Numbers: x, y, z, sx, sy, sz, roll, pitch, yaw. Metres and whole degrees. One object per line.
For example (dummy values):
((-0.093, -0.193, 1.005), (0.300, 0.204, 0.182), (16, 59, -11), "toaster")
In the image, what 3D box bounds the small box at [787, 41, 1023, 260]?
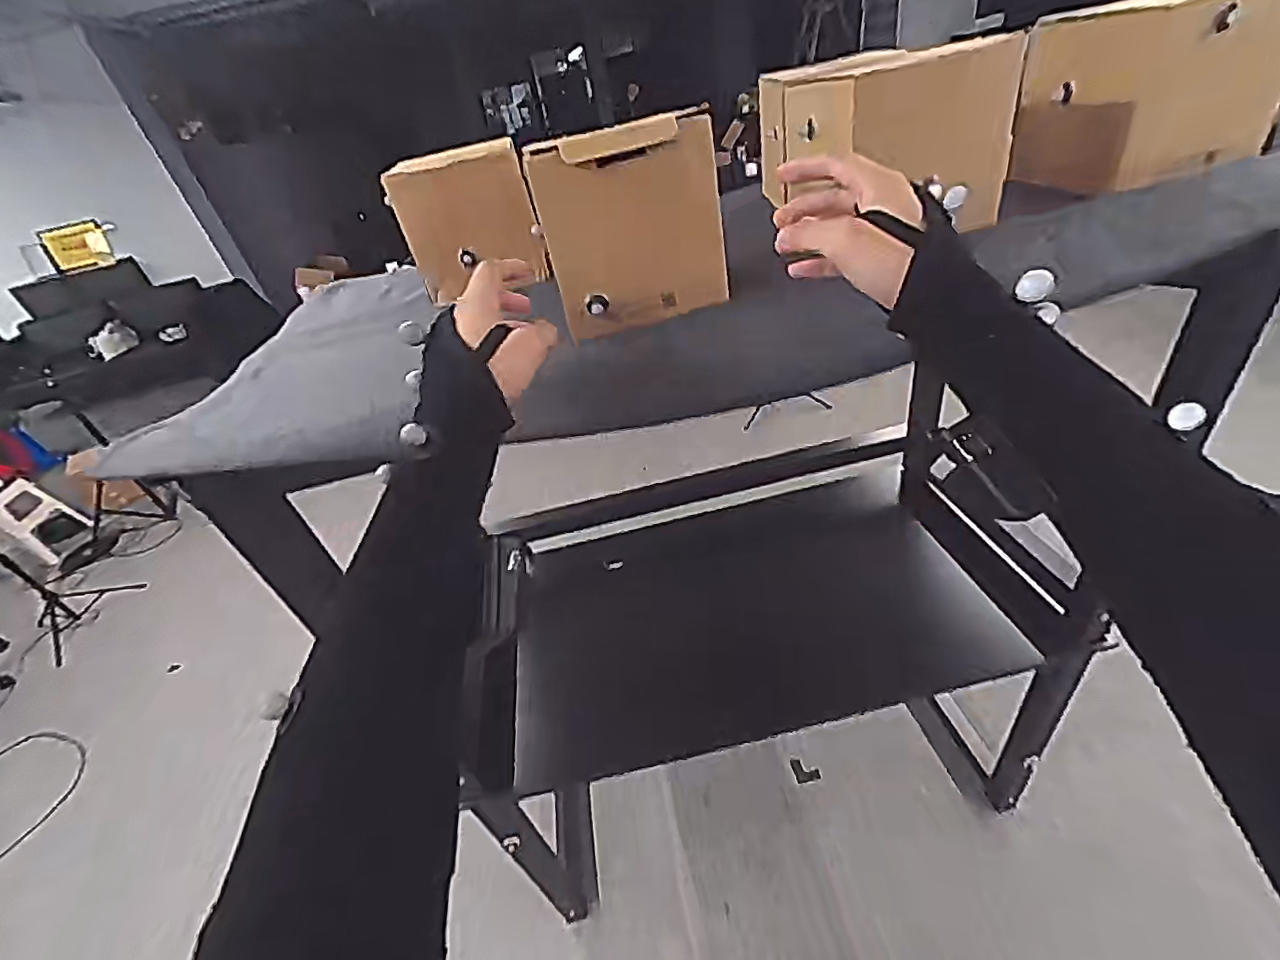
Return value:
((0.273, -0.359, 0.604), (0.168, 0.176, 0.179), (-14, 35, -1), "small box")

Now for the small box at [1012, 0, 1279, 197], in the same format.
((0.564, -0.432, 0.610), (0.168, 0.176, 0.179), (-14, 35, 1), "small box")

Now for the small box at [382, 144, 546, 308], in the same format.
((-0.238, -0.365, 0.777), (0.168, 0.176, 0.179), (-15, 37, -2), "small box")
